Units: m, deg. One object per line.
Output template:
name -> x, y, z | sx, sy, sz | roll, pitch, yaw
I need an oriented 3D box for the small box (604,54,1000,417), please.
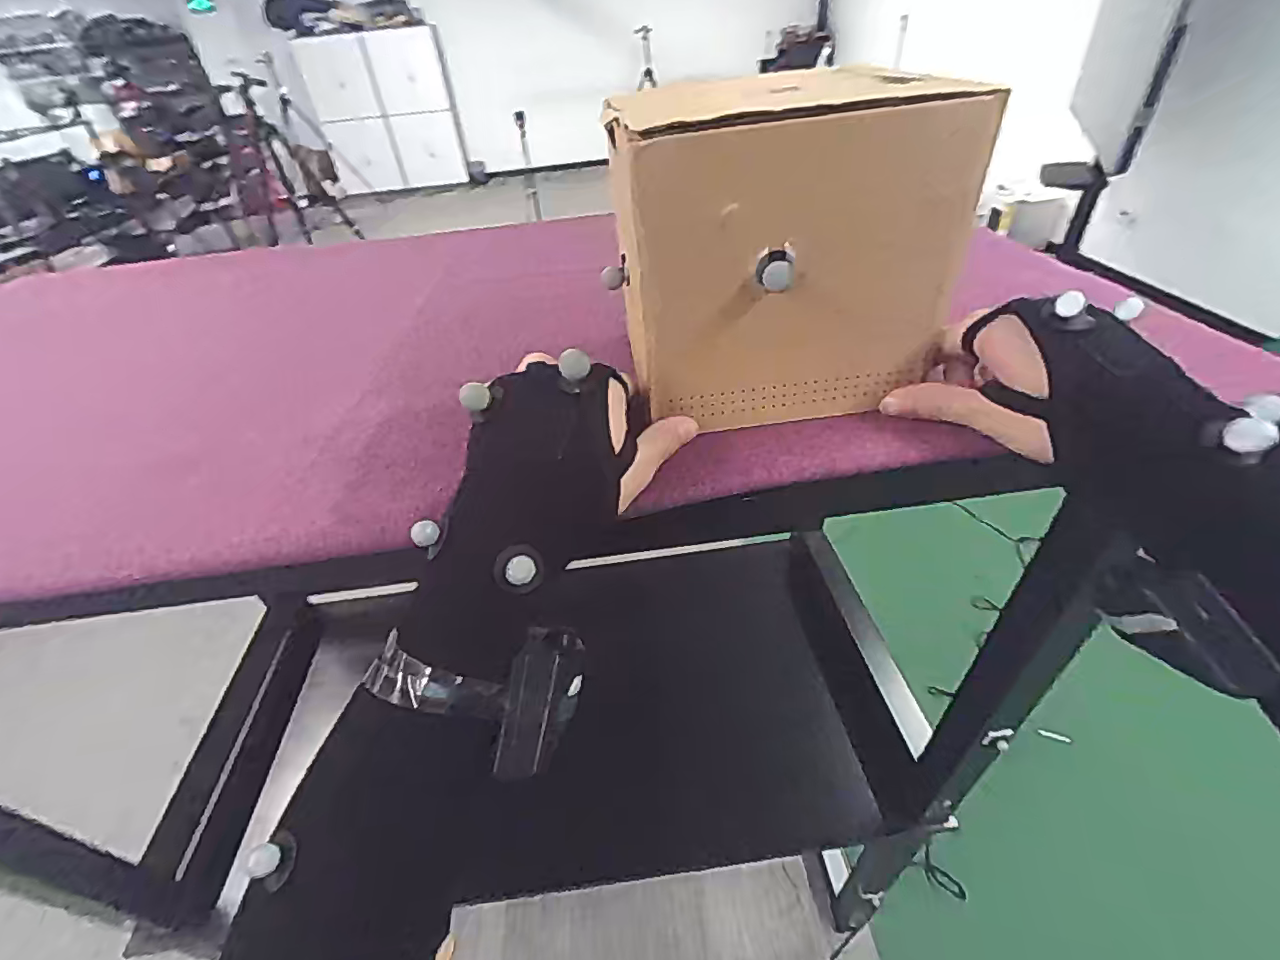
small box -> 0.078, -0.156, 0.351 | 0.179, 0.176, 0.168 | -8, 41, -1
